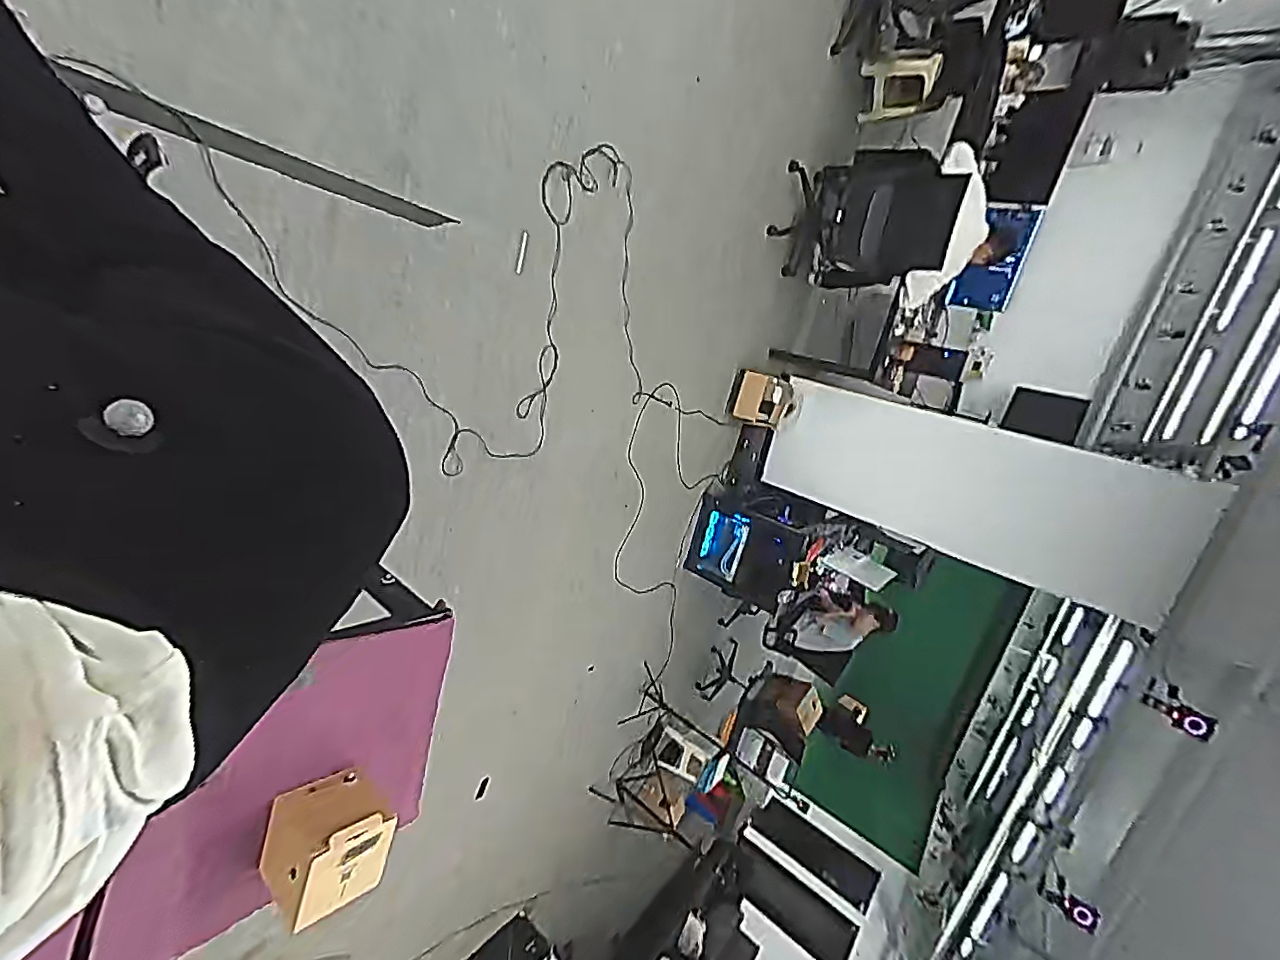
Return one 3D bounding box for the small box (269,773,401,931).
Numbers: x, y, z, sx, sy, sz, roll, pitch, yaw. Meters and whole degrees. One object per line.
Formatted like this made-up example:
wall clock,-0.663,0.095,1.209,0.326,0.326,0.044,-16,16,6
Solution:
small box,-0.617,0.729,1.091,0.168,0.176,0.179,4,106,-55
